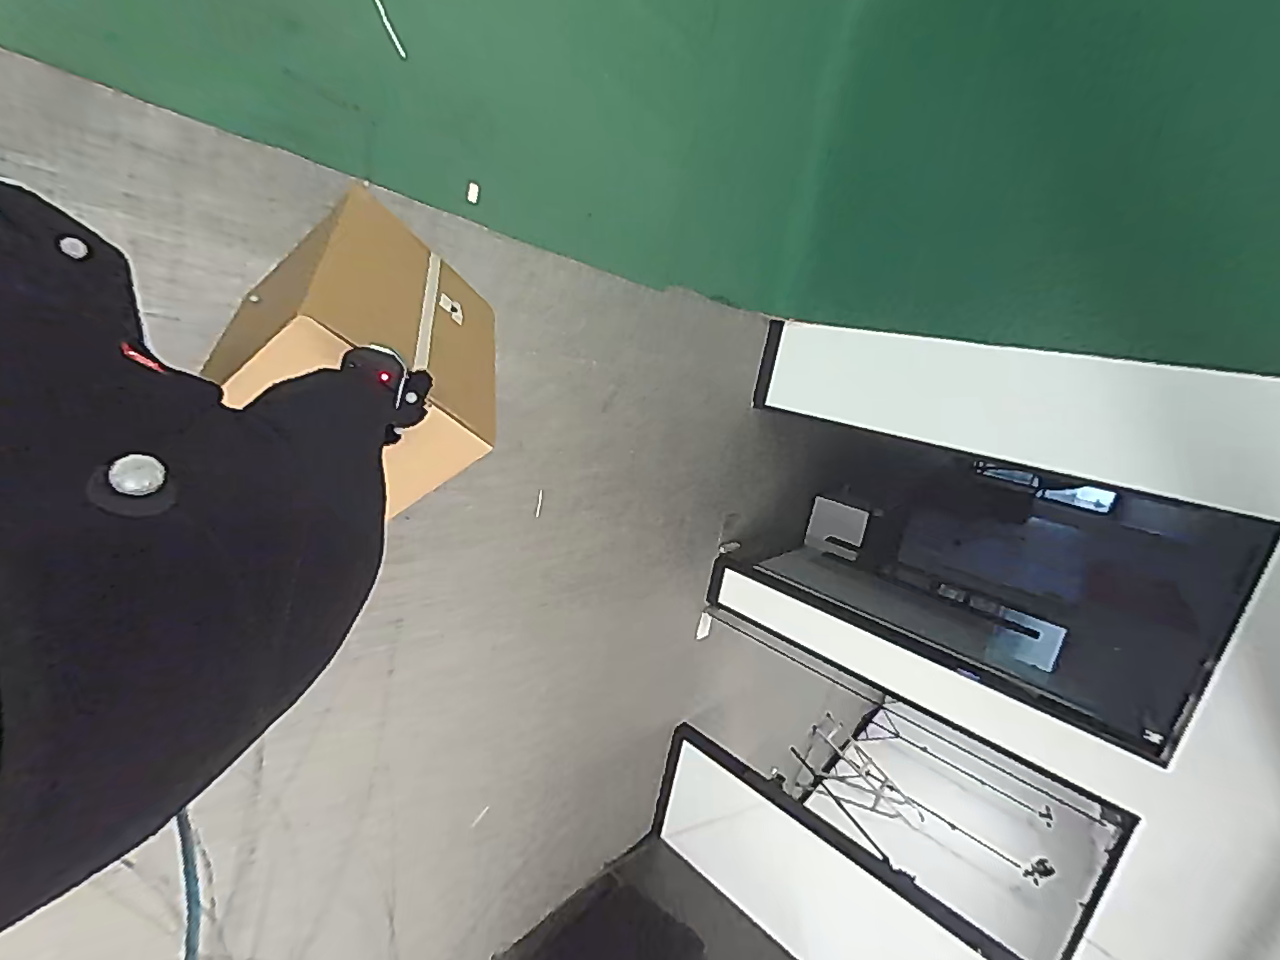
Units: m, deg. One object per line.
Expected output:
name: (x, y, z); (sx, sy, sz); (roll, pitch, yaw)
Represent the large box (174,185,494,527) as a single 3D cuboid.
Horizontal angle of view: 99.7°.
large box: (-0.472, -0.198, 0.914); (0.320, 0.408, 0.320); (-30, 137, 17)
